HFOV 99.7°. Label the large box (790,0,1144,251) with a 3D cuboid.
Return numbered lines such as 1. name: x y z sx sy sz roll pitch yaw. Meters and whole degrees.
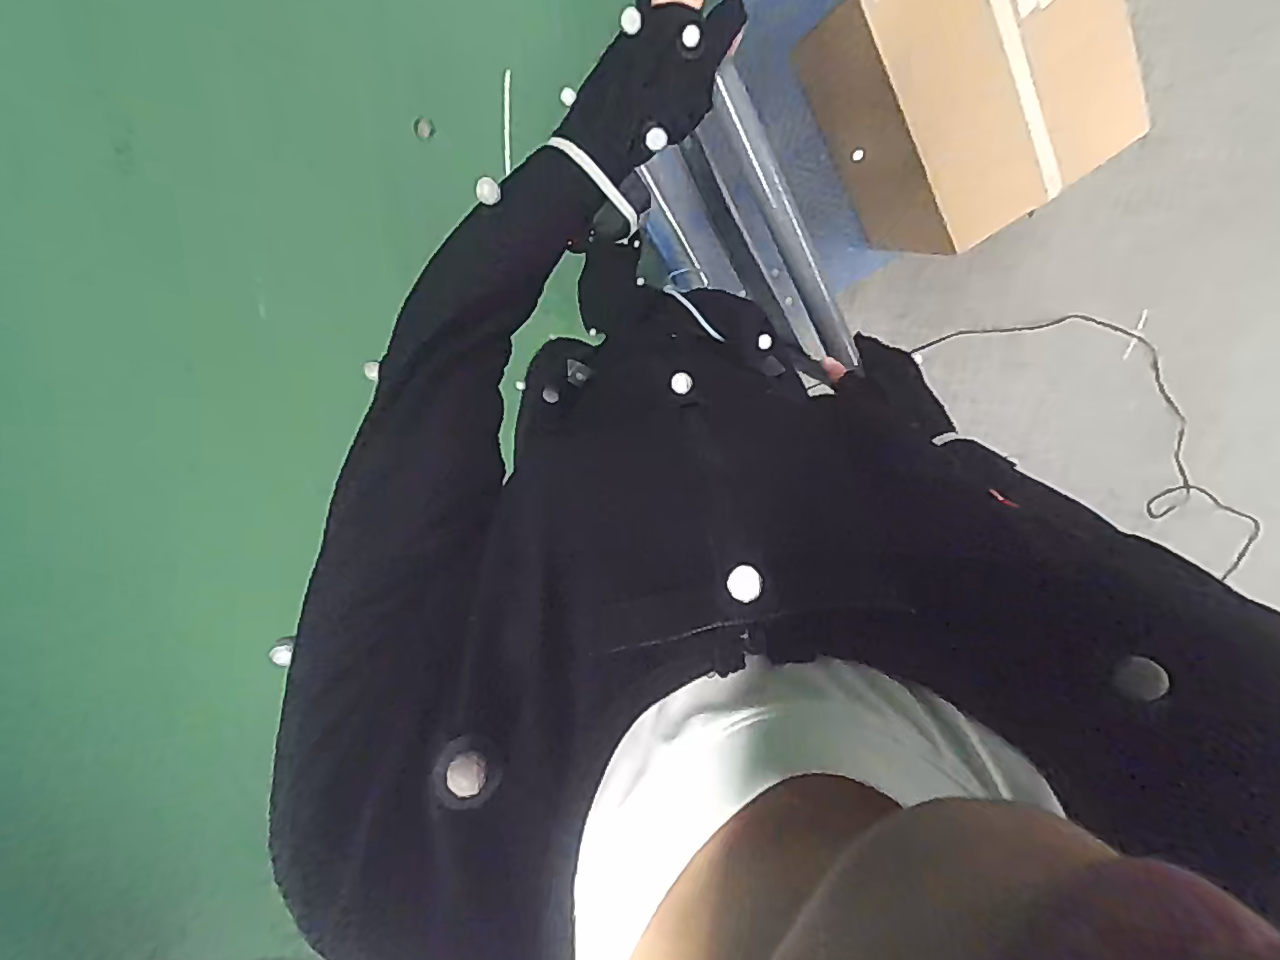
1. large box: 0.511 -0.653 0.901 0.320 0.320 0.408 -32 112 11
